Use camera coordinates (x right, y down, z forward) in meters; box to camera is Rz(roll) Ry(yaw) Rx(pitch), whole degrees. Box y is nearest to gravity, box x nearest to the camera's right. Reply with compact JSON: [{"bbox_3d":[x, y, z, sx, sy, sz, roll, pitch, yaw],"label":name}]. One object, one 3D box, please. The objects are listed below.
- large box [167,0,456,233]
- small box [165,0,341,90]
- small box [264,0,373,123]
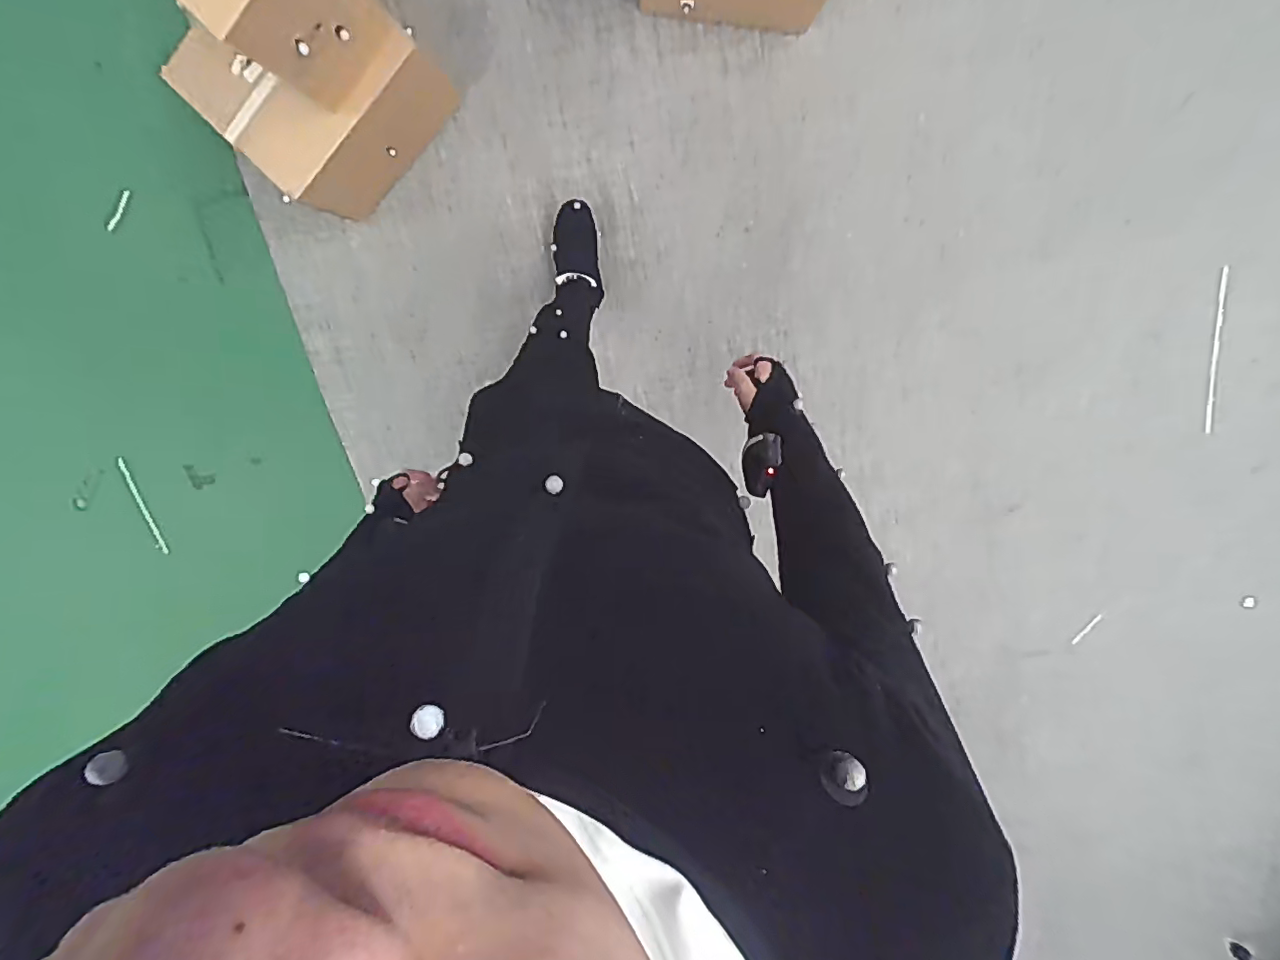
[{"bbox_3d":[-0.687,-0.829,1.196,0.408,0.320,0.320,-43,102,11],"label":"large box"},{"bbox_3d":[-0.595,-0.734,0.800,0.168,0.176,0.179,-42,105,11],"label":"small box"},{"bbox_3d":[-0.607,-0.786,0.953,0.179,0.176,0.168,-44,103,11],"label":"small box"}]
